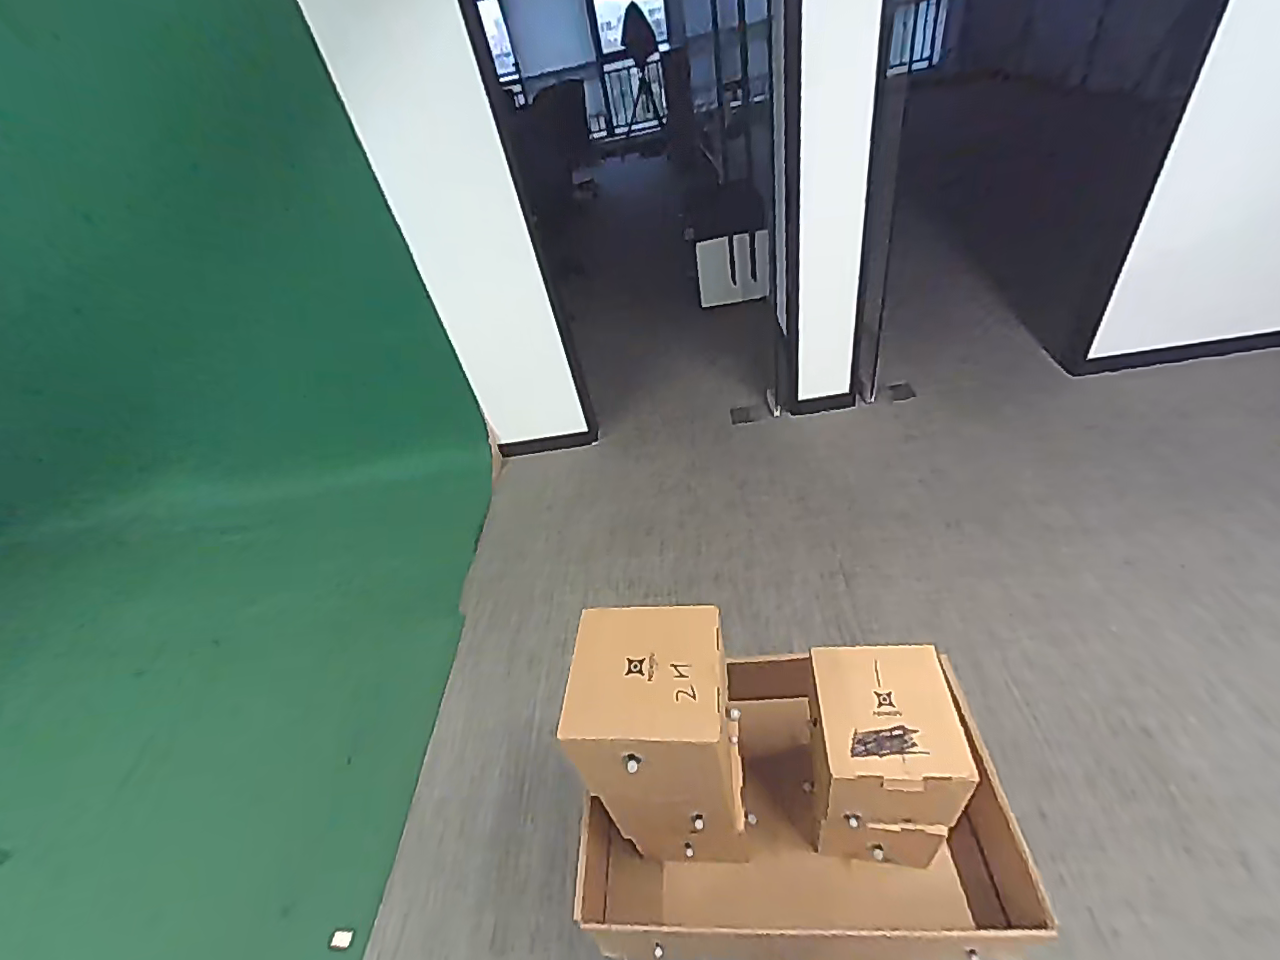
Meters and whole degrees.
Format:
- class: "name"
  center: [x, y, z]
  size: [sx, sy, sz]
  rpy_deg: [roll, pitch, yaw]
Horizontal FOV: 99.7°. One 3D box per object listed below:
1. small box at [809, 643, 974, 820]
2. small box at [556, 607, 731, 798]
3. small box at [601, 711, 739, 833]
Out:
- class: "small box"
  center: [0.331, 0.348, 0.747]
  size: [0.168, 0.176, 0.179]
  rpy_deg: [-5, 41, 11]
- class: "small box"
  center: [0.017, 0.276, 0.672]
  size: [0.179, 0.176, 0.168]
  rpy_deg: [-4, 42, 11]
- class: "small box"
  center: [0.050, 0.392, 0.784]
  size: [0.168, 0.176, 0.179]
  rpy_deg: [-6, 41, 9]
